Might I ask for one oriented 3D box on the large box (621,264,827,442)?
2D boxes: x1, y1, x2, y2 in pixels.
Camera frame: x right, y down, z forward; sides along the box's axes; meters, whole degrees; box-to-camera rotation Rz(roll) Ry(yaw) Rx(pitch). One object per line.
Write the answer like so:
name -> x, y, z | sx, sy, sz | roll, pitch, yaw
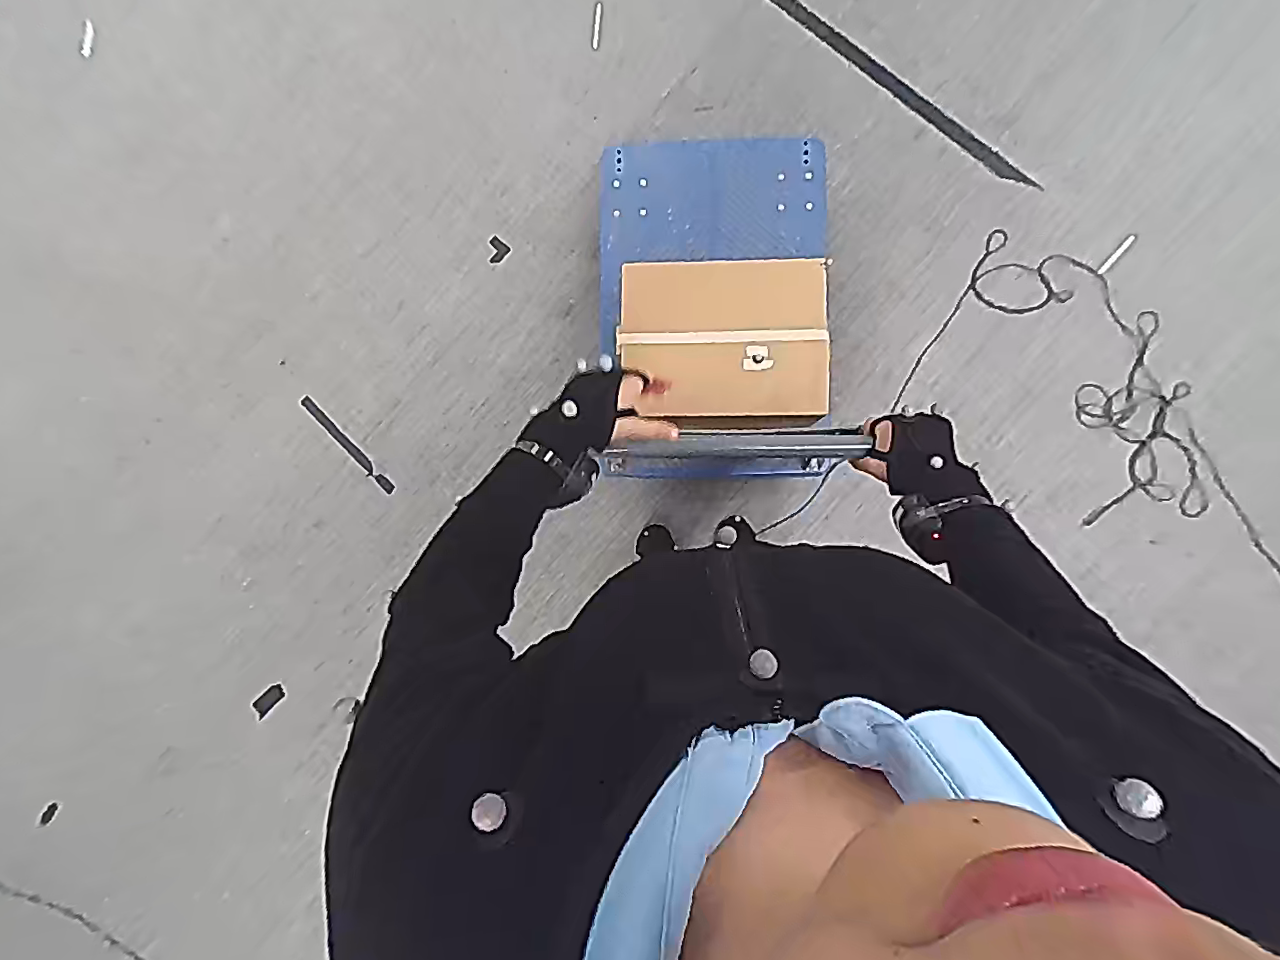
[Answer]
large box -> 0.169, -0.262, 1.215 | 0.408, 0.320, 0.320 | 0, 87, 3
